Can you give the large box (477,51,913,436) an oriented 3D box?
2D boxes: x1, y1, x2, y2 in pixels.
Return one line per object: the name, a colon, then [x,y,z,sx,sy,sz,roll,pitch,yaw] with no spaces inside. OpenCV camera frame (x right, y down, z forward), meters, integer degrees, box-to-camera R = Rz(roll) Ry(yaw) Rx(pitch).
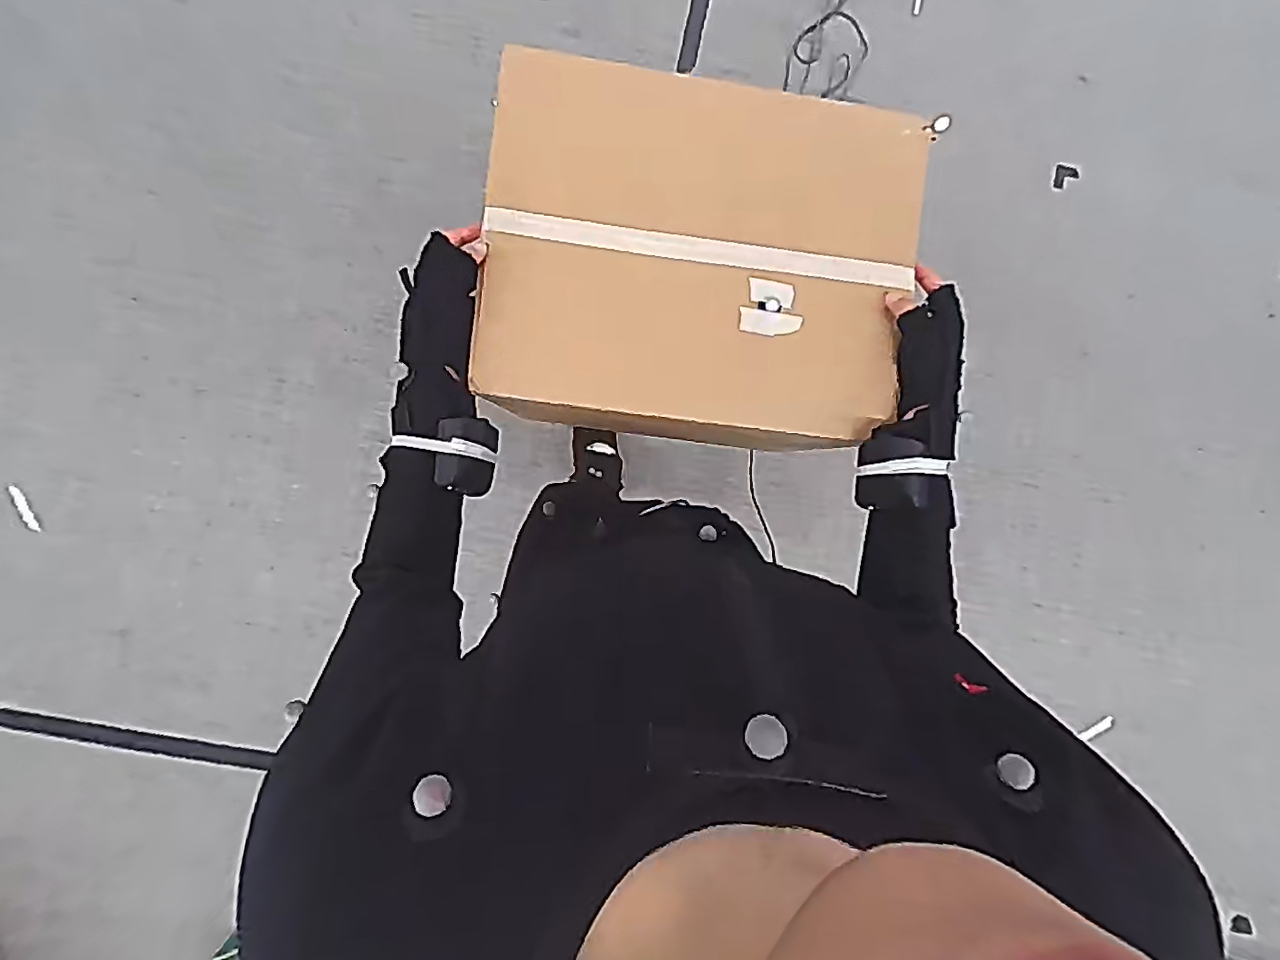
large box: [0.044,-0.233,0.667,0.408,0.320,0.320,7,93,-5]
